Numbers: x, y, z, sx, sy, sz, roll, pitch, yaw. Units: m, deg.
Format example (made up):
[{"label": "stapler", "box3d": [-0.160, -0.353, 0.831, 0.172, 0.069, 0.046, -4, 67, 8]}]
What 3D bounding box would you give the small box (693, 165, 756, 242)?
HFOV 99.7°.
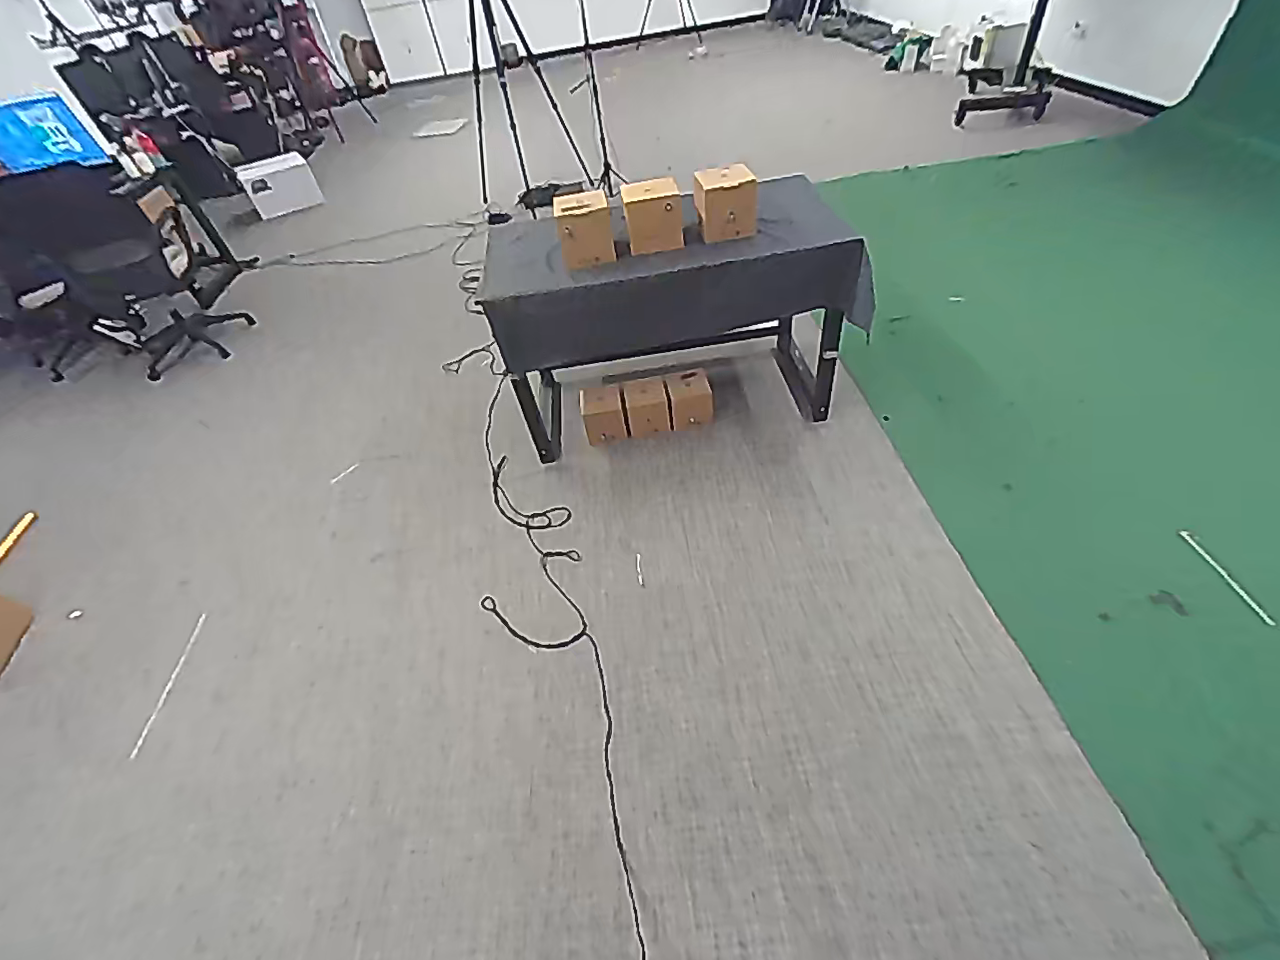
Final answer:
[{"label": "small box", "box3d": [0.272, -0.888, 1.749, 0.168, 0.176, 0.179, -10, 46, -1]}]
